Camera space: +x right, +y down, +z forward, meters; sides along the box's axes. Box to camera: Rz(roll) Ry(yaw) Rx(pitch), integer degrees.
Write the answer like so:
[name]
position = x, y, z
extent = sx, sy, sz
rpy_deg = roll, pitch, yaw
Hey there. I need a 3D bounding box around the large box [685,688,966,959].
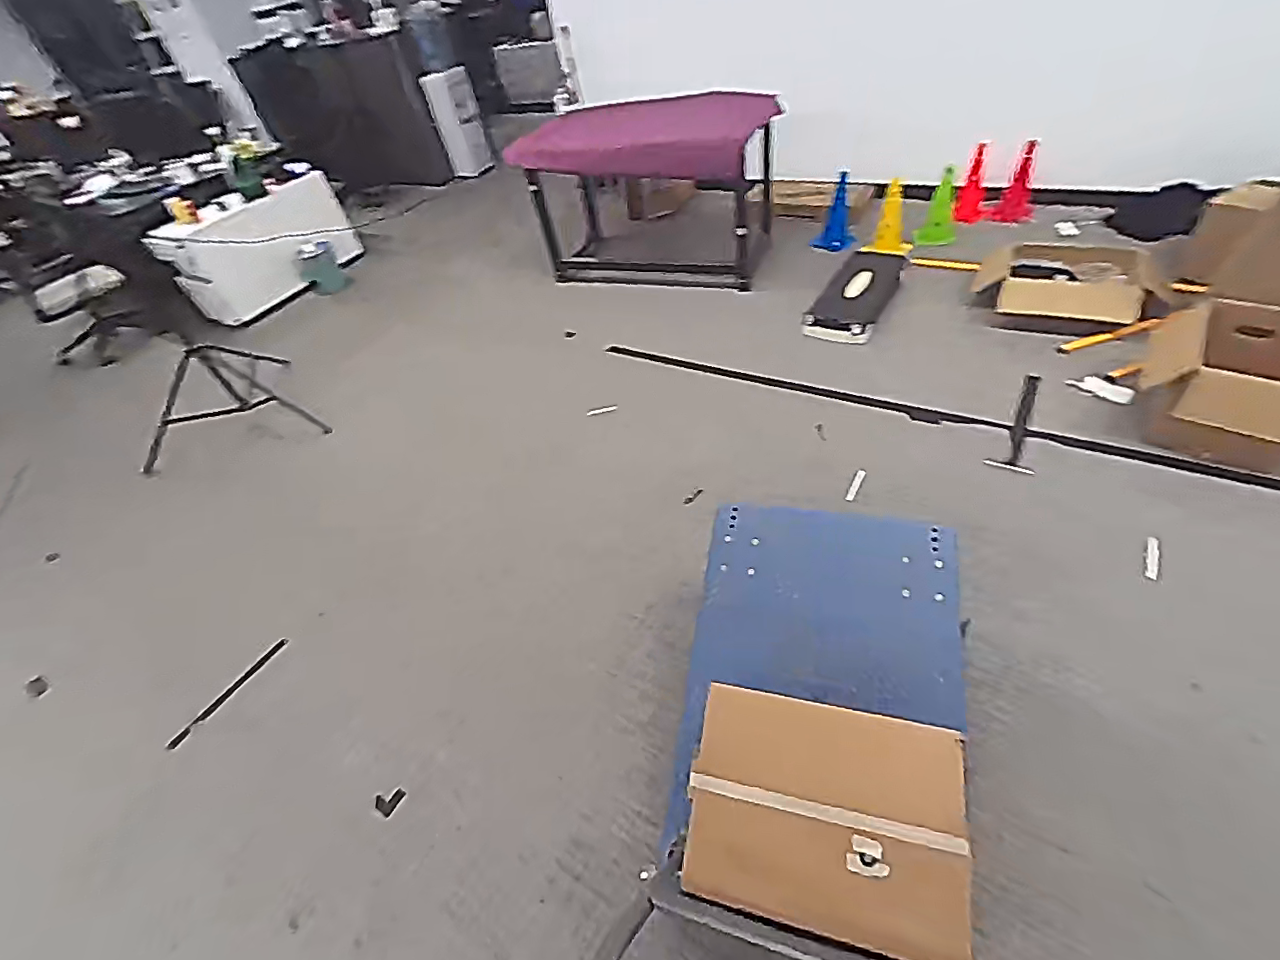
[large box]
position = 0.316, 0.595, 0.988
extent = 0.408, 0.320, 0.320
rpy_deg = 5, 64, 16
